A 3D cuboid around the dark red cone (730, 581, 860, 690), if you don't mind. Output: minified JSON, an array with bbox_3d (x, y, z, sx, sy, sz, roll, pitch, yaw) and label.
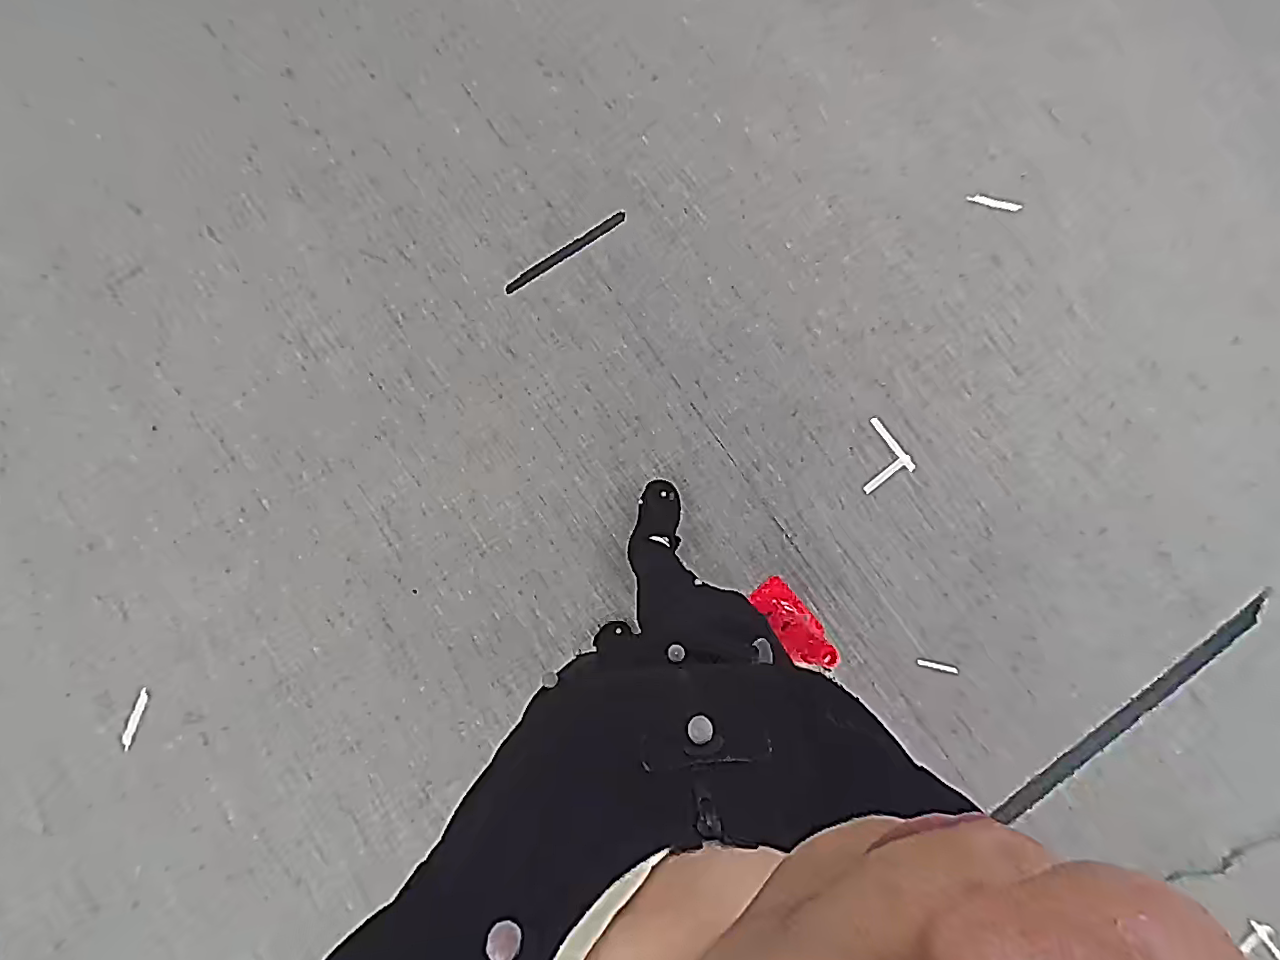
[{"bbox_3d":[0.357,0.358,1.155,0.202,0.394,0.201,-42,88,-7],"label":"dark red cone"}]
